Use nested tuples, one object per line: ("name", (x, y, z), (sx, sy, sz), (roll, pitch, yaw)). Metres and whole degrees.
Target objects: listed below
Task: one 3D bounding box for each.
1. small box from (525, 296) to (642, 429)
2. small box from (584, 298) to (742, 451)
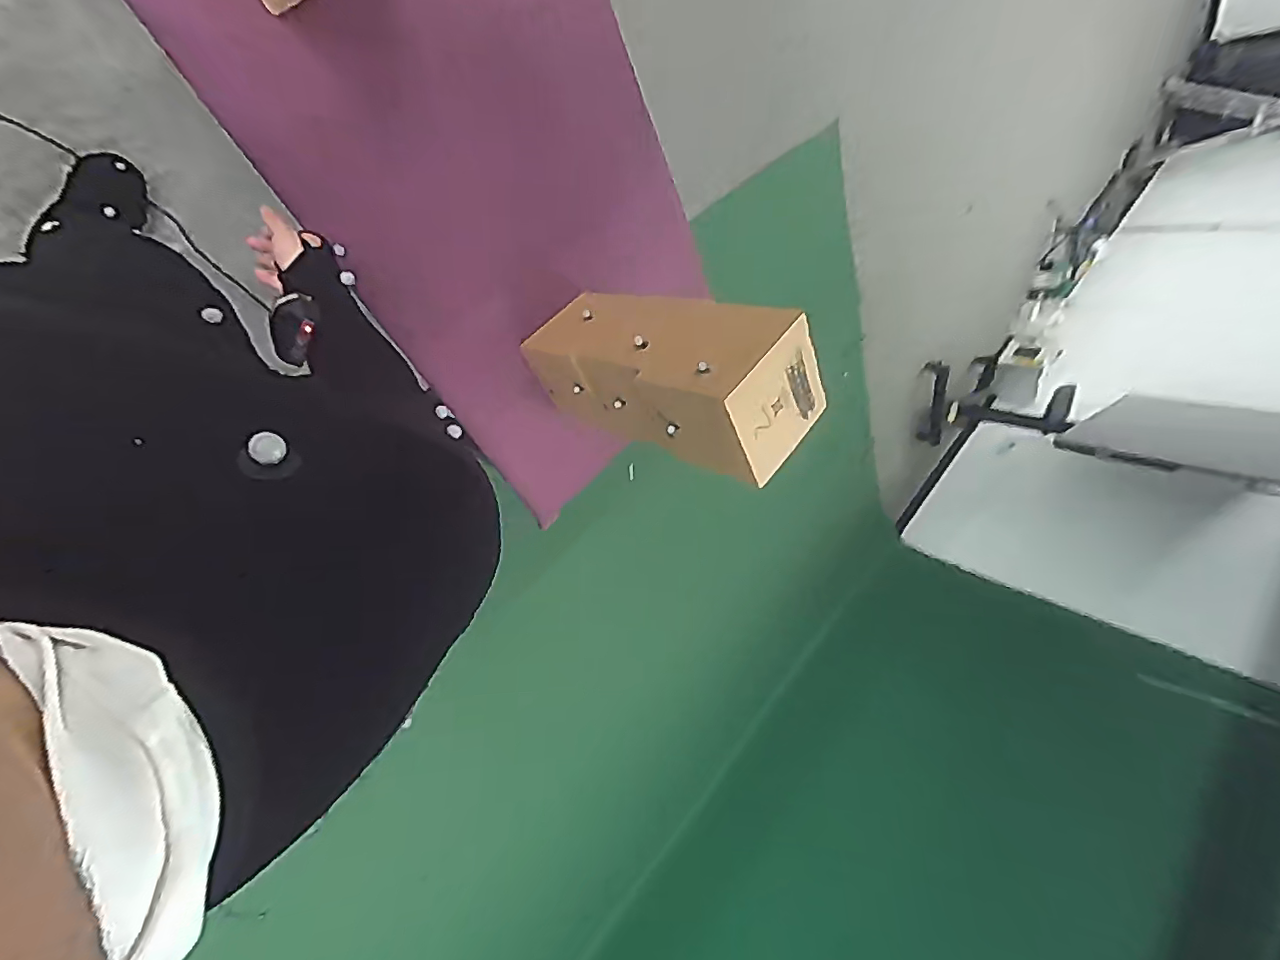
("small box", (-0.077, -0.224, 0.994), (0.179, 0.176, 0.168), (-47, 131, -19))
("small box", (0.032, -0.178, 0.879), (0.179, 0.176, 0.168), (-46, 132, -20))
